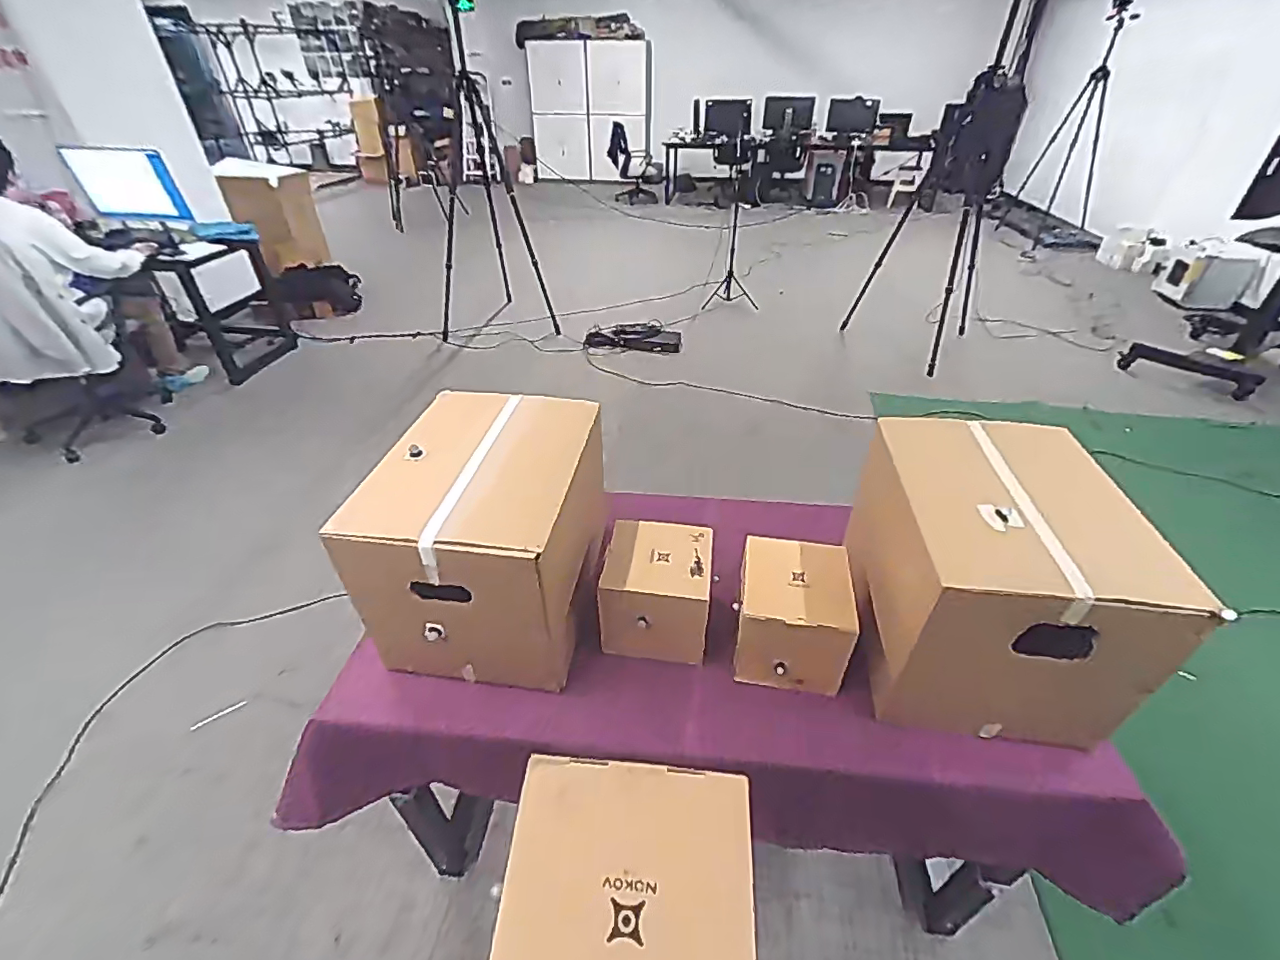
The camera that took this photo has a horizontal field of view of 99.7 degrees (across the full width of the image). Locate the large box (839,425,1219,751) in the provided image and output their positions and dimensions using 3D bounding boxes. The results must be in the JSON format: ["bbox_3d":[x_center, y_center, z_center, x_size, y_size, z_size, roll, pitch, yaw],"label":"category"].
[{"bbox_3d":[0.545,0.154,0.884,0.320,0.320,0.408,5,38,7],"label":"large box"}]
